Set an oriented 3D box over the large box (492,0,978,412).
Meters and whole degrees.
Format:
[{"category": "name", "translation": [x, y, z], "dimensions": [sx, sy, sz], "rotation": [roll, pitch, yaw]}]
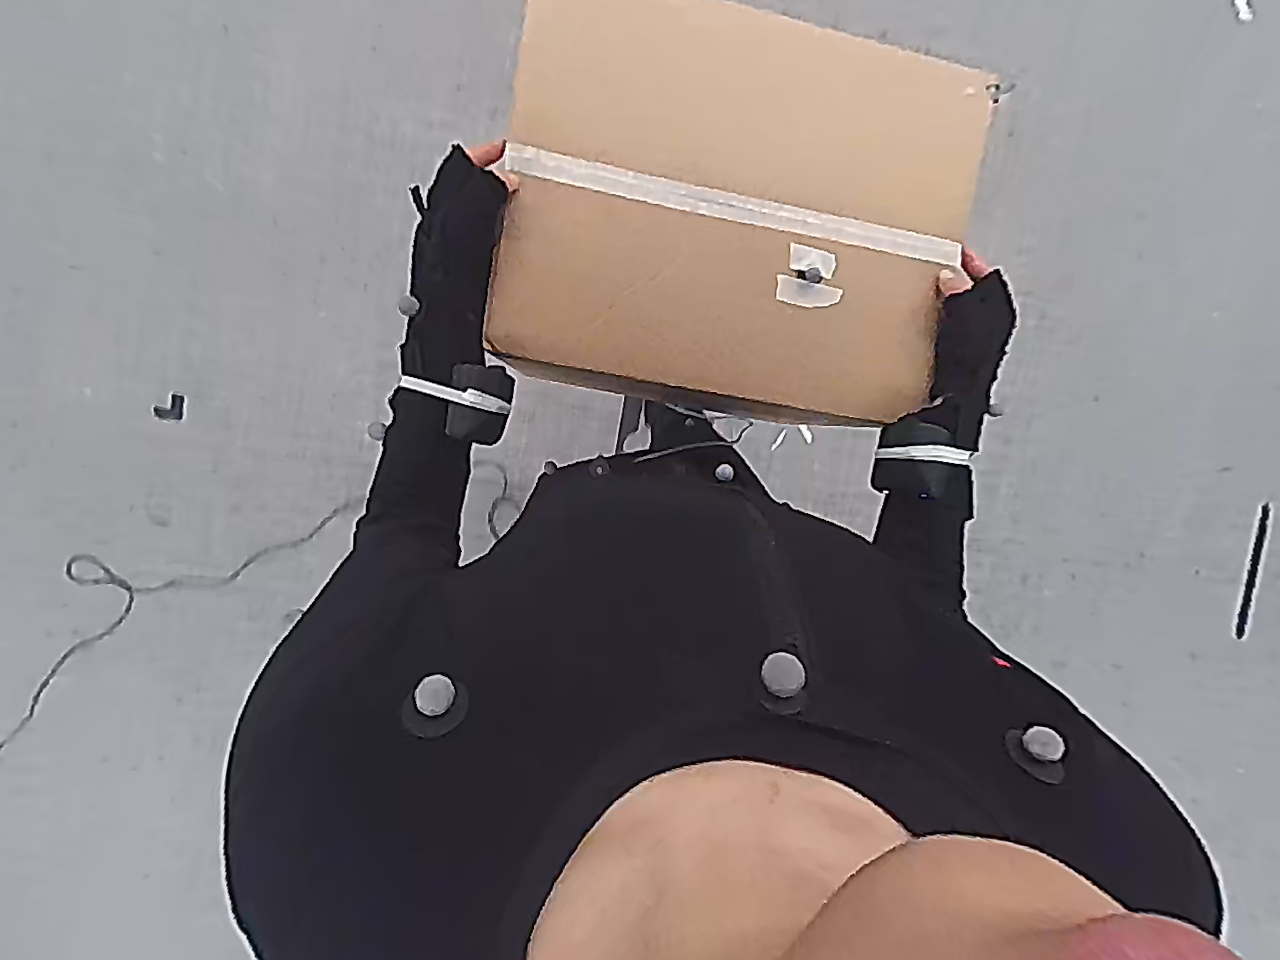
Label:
[{"category": "large box", "translation": [0.069, -0.260, 0.620], "dimensions": [0.408, 0.320, 0.320], "rotation": [9, 97, -8]}]
